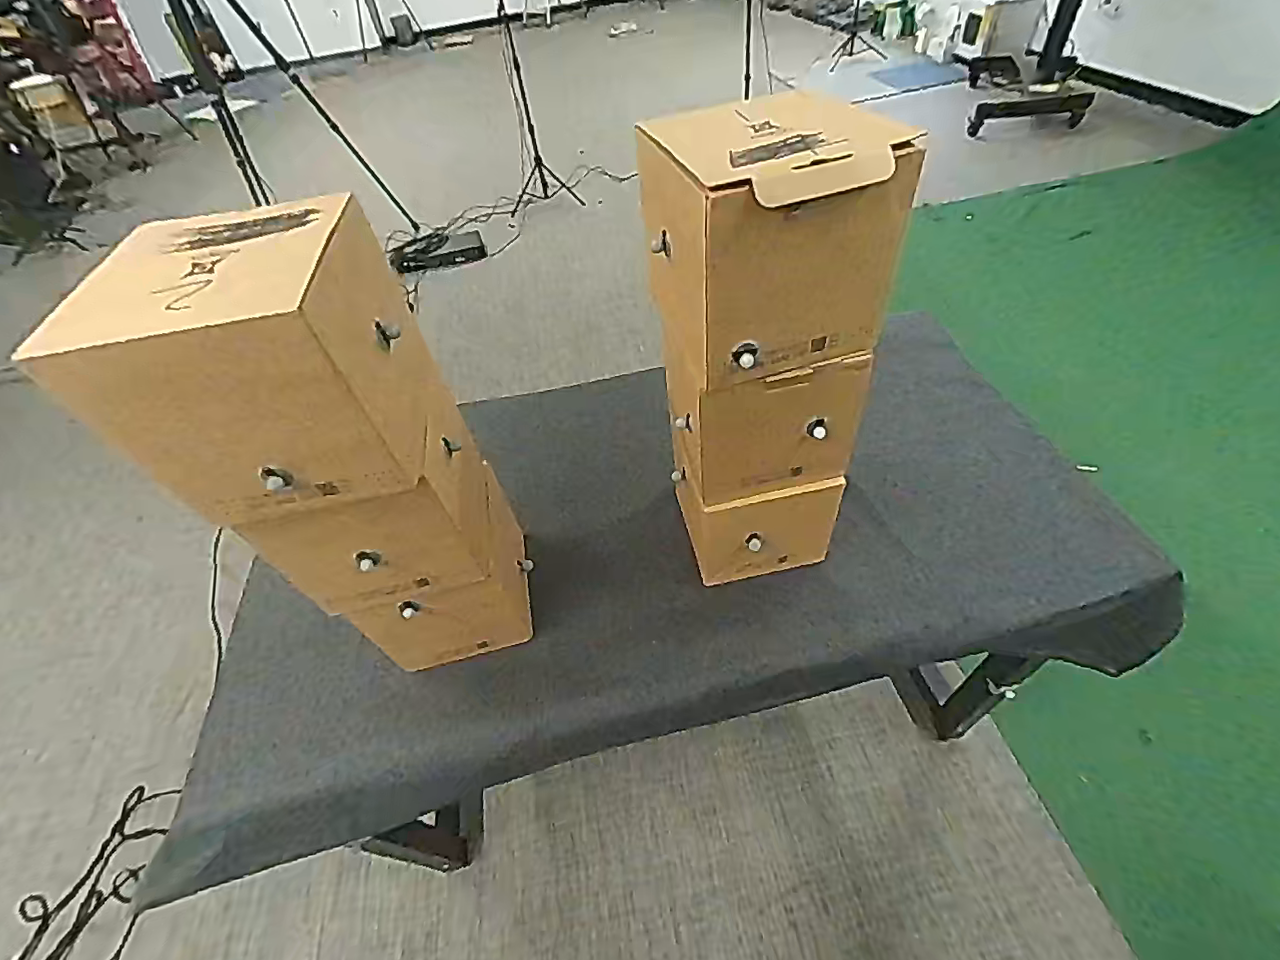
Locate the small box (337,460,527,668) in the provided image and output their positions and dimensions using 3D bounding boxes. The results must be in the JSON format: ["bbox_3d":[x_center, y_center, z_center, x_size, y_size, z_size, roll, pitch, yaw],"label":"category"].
[{"bbox_3d":[-0.246,0.106,0.680,0.168,0.176,0.179,-13,48,-4],"label":"small box"}]

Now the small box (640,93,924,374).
[{"bbox_3d":[0.107,-0.211,0.479,0.168,0.176,0.179,-15,48,-7],"label":"small box"}]

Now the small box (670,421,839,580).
[{"bbox_3d":[0.140,0.015,0.713,0.168,0.176,0.179,-11,48,-2],"label":"small box"}]

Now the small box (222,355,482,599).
[{"bbox_3d":[-0.266,0.004,0.552,0.168,0.176,0.179,-12,48,-4],"label":"small box"}]

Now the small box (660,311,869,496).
[{"bbox_3d":[0.123,-0.099,0.599,0.168,0.176,0.179,-11,47,-4],"label":"small box"}]
